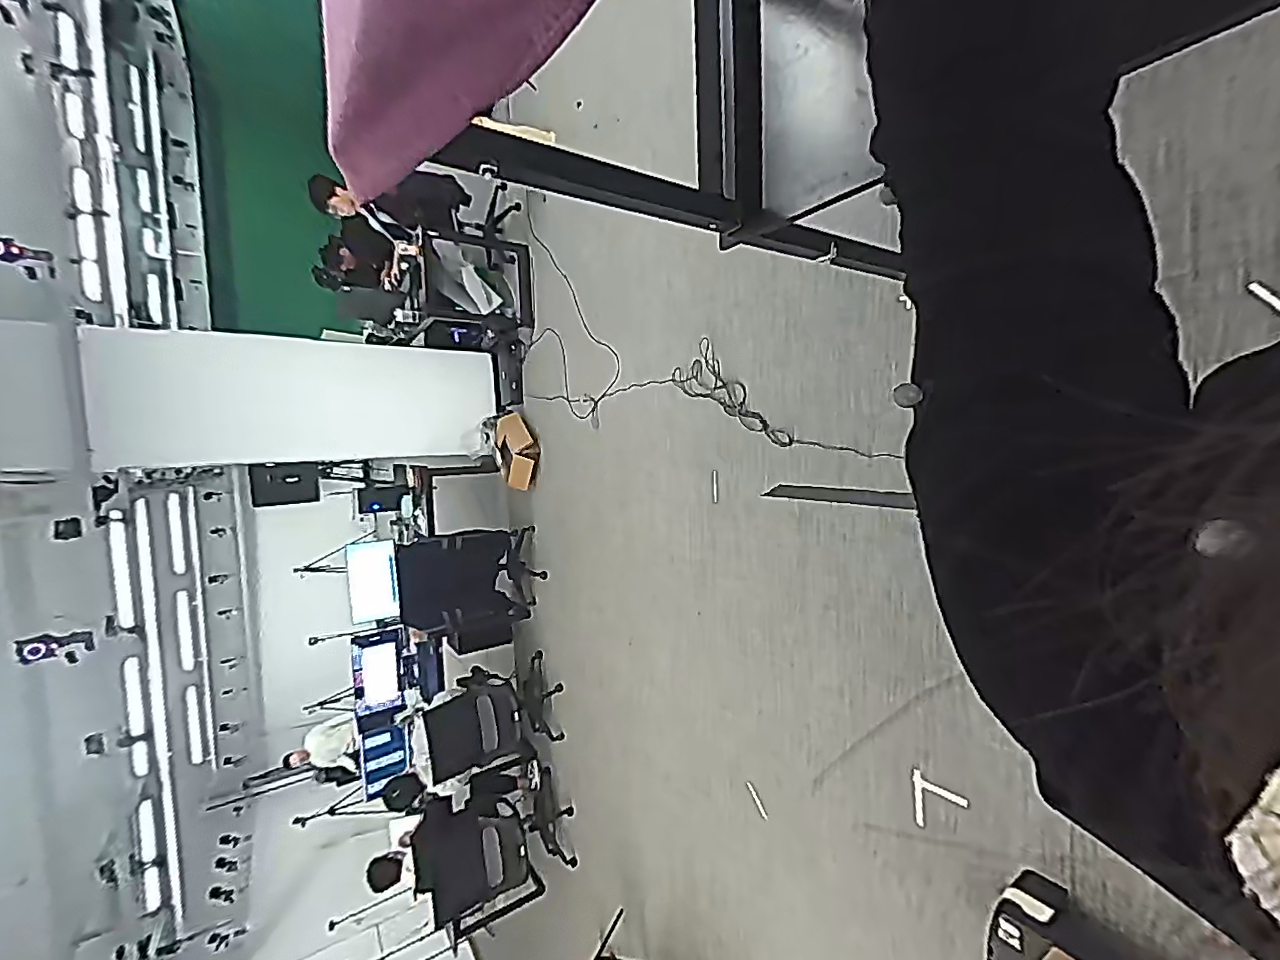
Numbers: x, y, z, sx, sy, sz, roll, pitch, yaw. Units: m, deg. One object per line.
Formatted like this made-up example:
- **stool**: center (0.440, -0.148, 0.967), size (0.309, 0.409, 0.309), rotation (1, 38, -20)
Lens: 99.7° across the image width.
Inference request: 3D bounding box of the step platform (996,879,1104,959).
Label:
- **step platform**: center (1.110, 1.186, 1.073), size (0.684, 0.204, 0.286), rotation (14, 105, 55)
